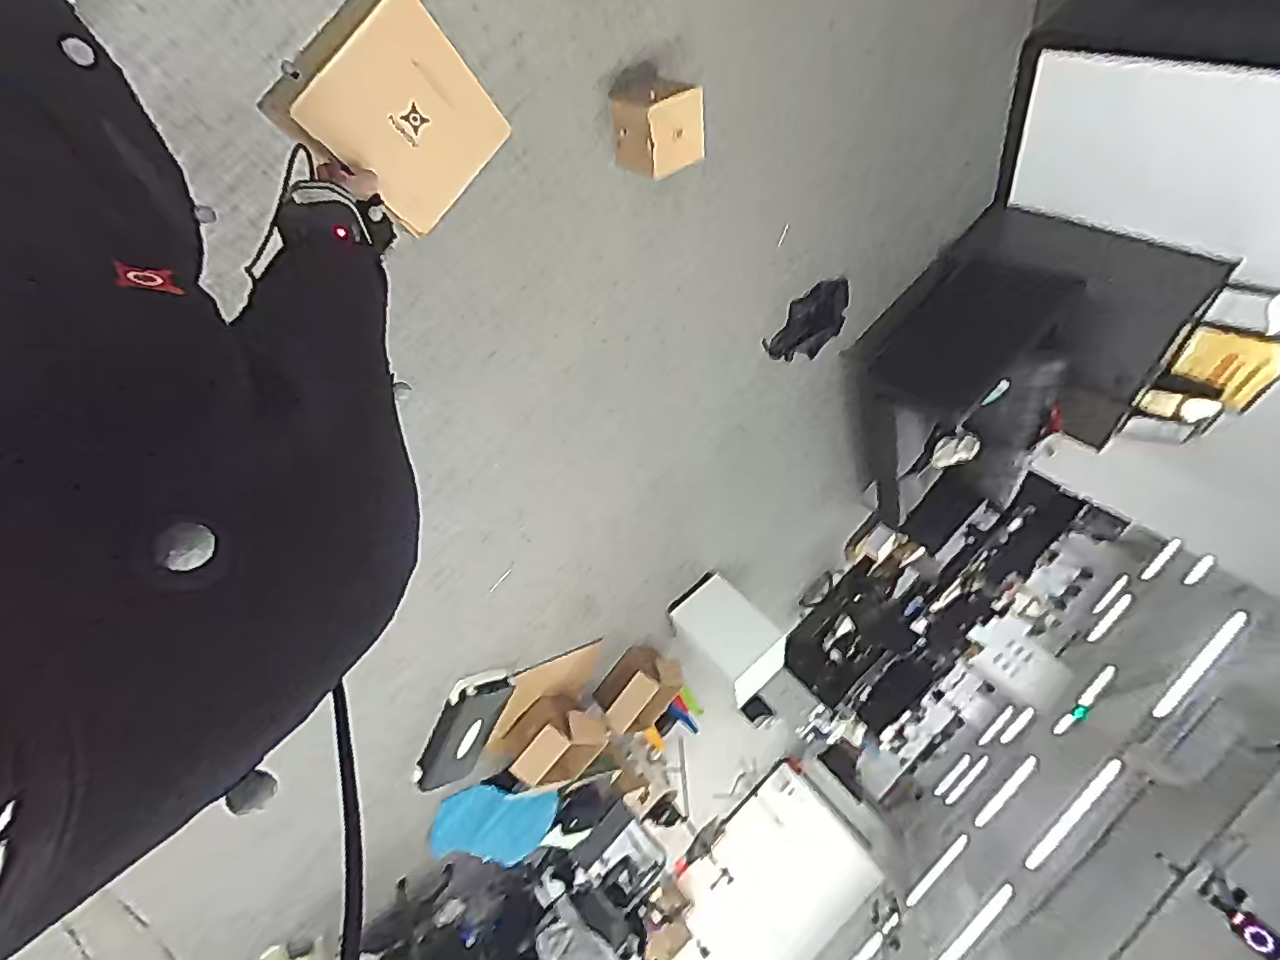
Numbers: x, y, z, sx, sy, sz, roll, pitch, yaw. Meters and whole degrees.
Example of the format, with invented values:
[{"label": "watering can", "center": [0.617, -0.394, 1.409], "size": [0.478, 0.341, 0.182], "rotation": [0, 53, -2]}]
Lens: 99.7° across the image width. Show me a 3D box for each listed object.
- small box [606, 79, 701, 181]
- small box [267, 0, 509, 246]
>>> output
[{"label": "small box", "center": [0.038, -0.910, 1.397], "size": [0.179, 0.176, 0.168], "rotation": [-35, 144, -19]}, {"label": "small box", "center": [-0.295, -0.411, 0.628], "size": [0.179, 0.176, 0.168], "rotation": [-52, 142, -3]}]
